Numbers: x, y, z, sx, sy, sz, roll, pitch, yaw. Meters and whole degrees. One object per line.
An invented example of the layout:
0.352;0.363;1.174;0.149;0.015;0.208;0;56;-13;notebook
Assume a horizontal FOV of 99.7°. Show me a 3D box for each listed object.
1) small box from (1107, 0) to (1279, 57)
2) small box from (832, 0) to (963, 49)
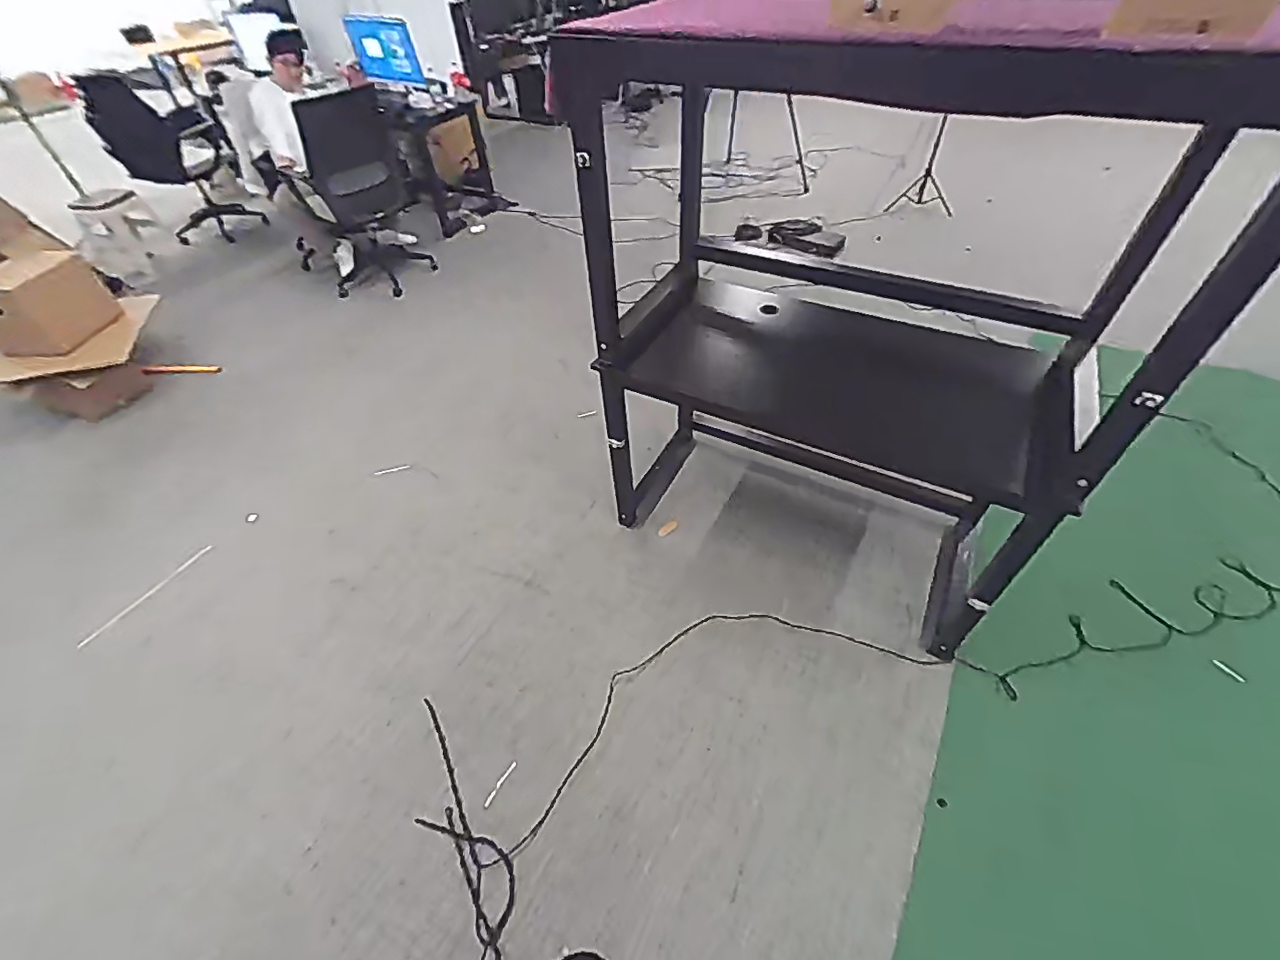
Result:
0.747;-0.670;0.699;0.168;0.176;0.179;23;52;25;small box
0.415;-0.791;0.839;0.168;0.176;0.179;23;51;24;small box
